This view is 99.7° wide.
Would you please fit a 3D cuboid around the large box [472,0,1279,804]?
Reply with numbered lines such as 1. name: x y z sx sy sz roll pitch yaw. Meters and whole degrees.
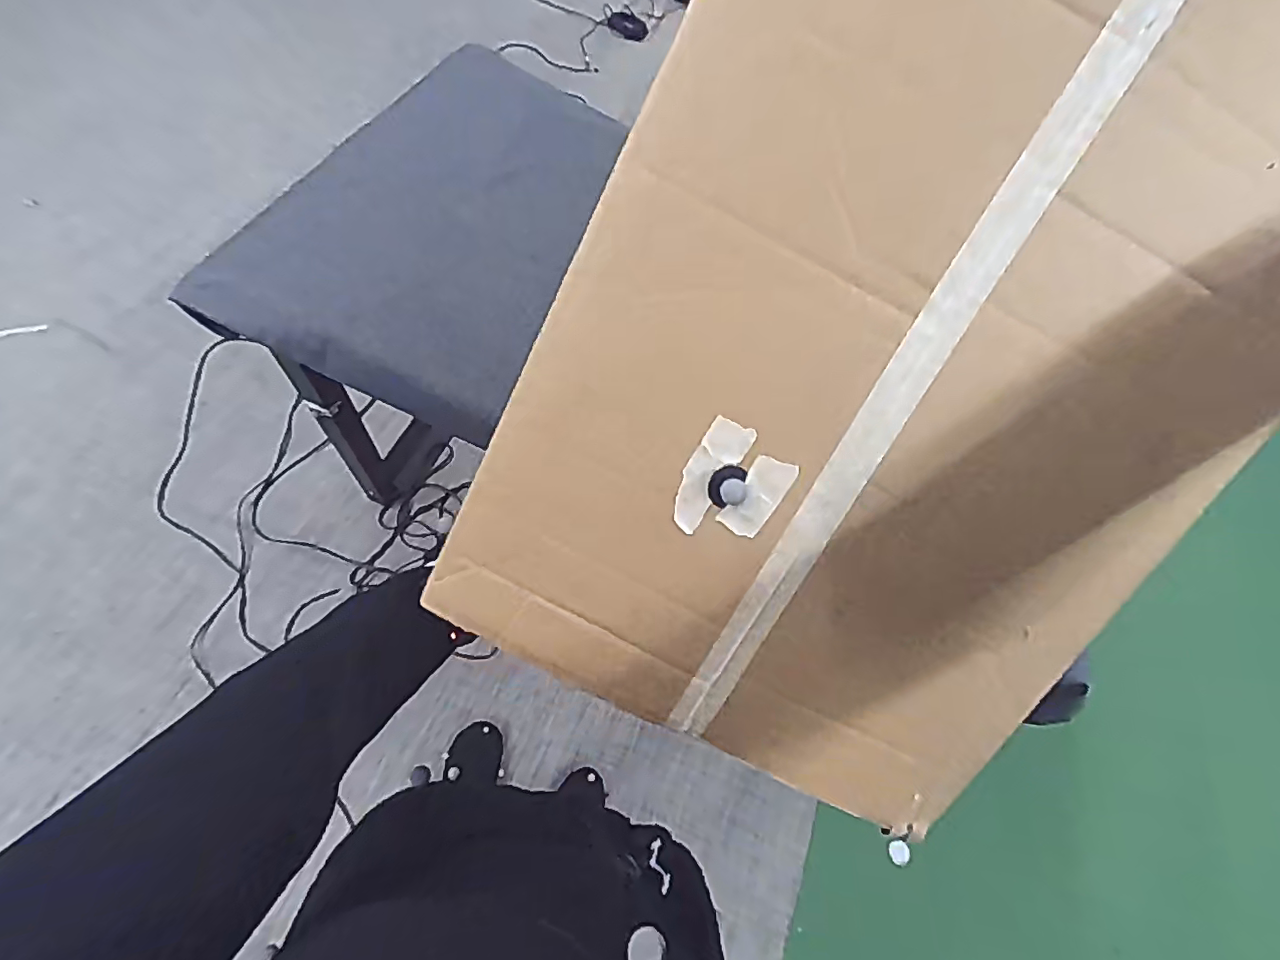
1. large box: 0.128 -0.072 0.416 0.320 0.320 0.408 27 105 -4
